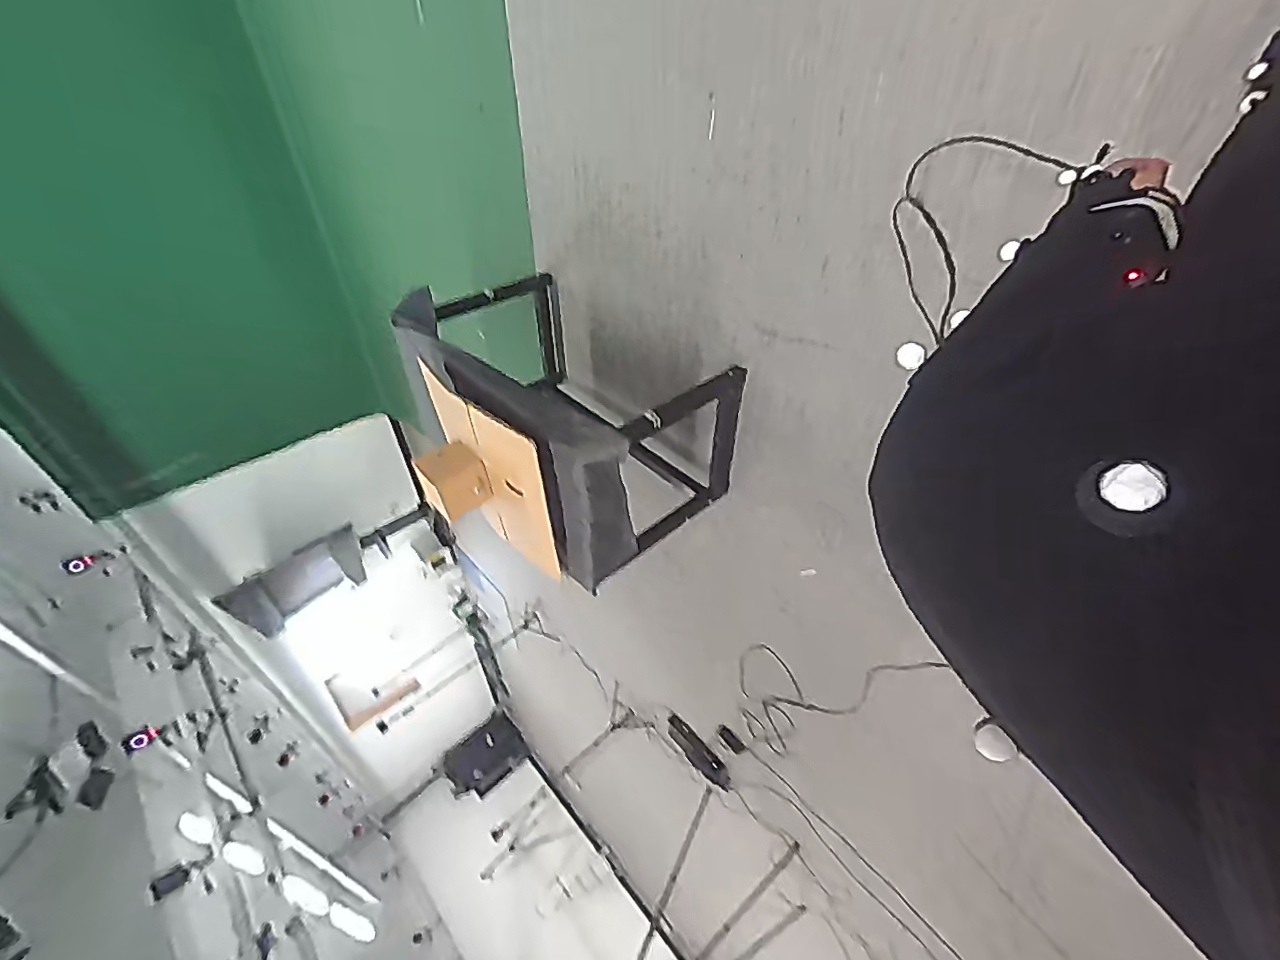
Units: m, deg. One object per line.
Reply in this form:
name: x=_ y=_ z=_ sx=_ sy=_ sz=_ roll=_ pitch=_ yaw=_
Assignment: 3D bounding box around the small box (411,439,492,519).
small box: x=-0.611 y=-0.012 z=1.767 sx=0.179 sy=0.176 sz=0.168 roll=33 pitch=145 yaw=35
